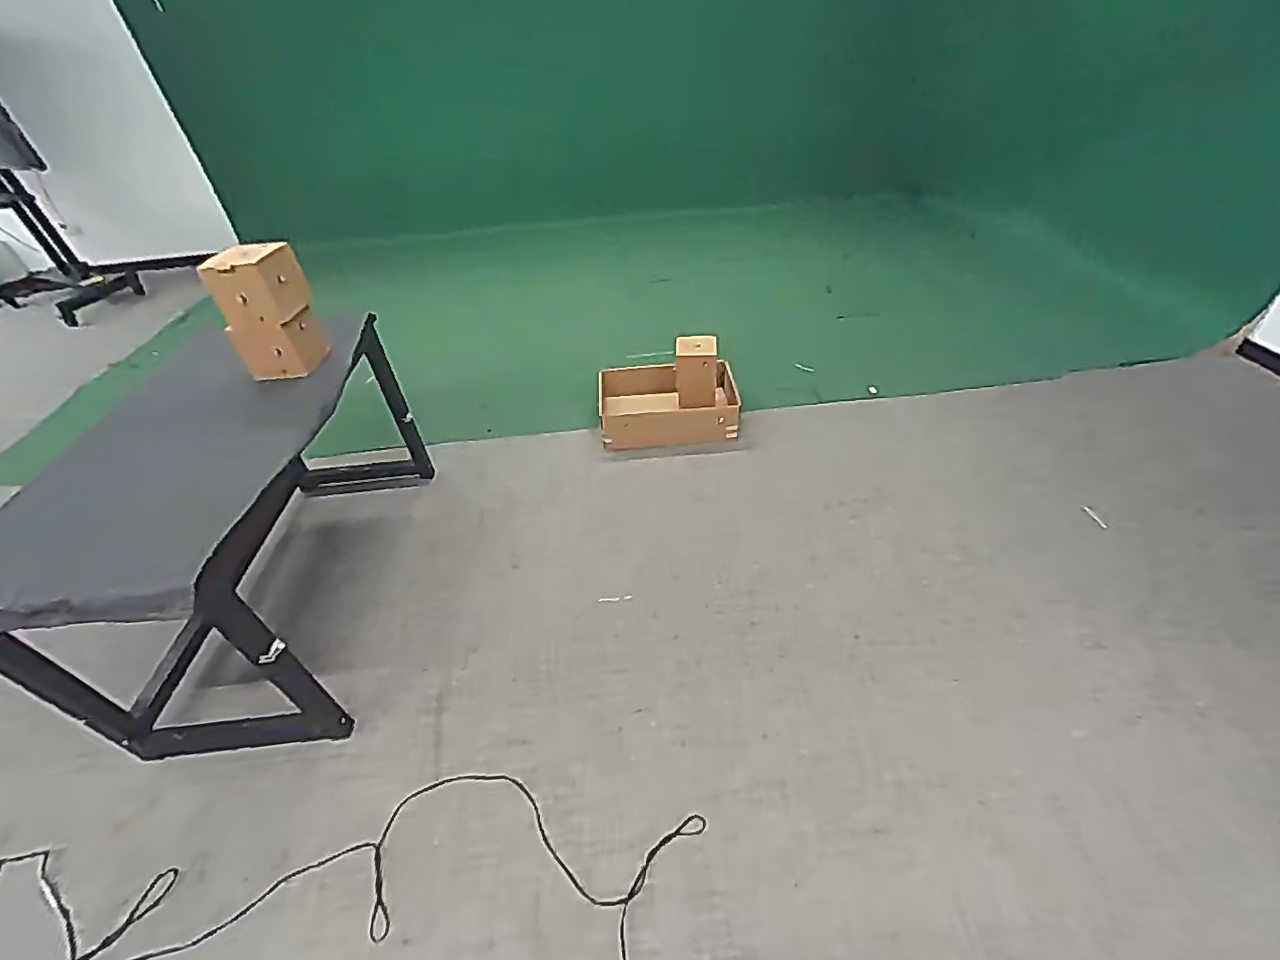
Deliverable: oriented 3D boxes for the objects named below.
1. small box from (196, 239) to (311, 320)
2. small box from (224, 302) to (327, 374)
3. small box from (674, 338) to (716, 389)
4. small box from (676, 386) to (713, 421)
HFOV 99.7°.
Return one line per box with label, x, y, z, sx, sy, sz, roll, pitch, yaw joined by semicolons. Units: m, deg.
small box;-1.070;-0.559;1.517;0.168;0.176;0.179;-1;42;4
small box;-1.076;-0.427;1.617;0.168;0.176;0.179;-3;41;1
small box;0.242;-0.511;2.383;0.179;0.176;0.168;0;42;6
small box;0.251;-0.392;2.497;0.168;0.176;0.179;0;44;6
